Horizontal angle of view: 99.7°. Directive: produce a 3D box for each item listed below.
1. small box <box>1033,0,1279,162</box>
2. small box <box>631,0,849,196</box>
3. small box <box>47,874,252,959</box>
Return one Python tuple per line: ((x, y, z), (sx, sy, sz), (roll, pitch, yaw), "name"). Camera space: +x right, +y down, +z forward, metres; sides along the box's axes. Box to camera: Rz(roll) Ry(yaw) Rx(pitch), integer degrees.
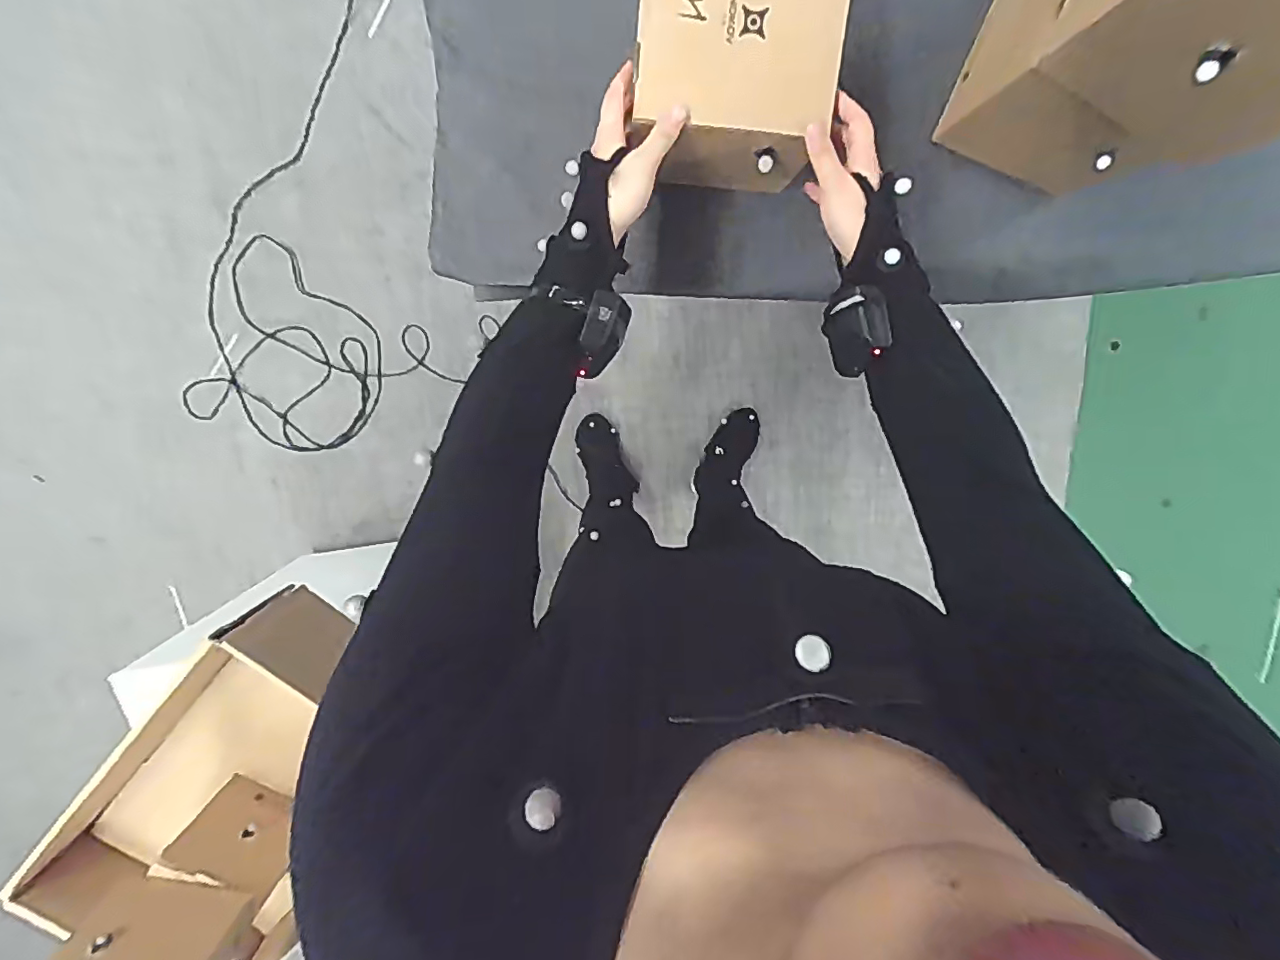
((0.440, -0.356, 0.374), (0.179, 0.176, 0.168), (28, 101, -6), "small box")
((0.085, -0.396, 0.535), (0.179, 0.176, 0.168), (5, 103, -1), "small box")
((-0.669, 0.673, 0.722), (0.179, 0.176, 0.168), (13, 104, -6), "small box")
